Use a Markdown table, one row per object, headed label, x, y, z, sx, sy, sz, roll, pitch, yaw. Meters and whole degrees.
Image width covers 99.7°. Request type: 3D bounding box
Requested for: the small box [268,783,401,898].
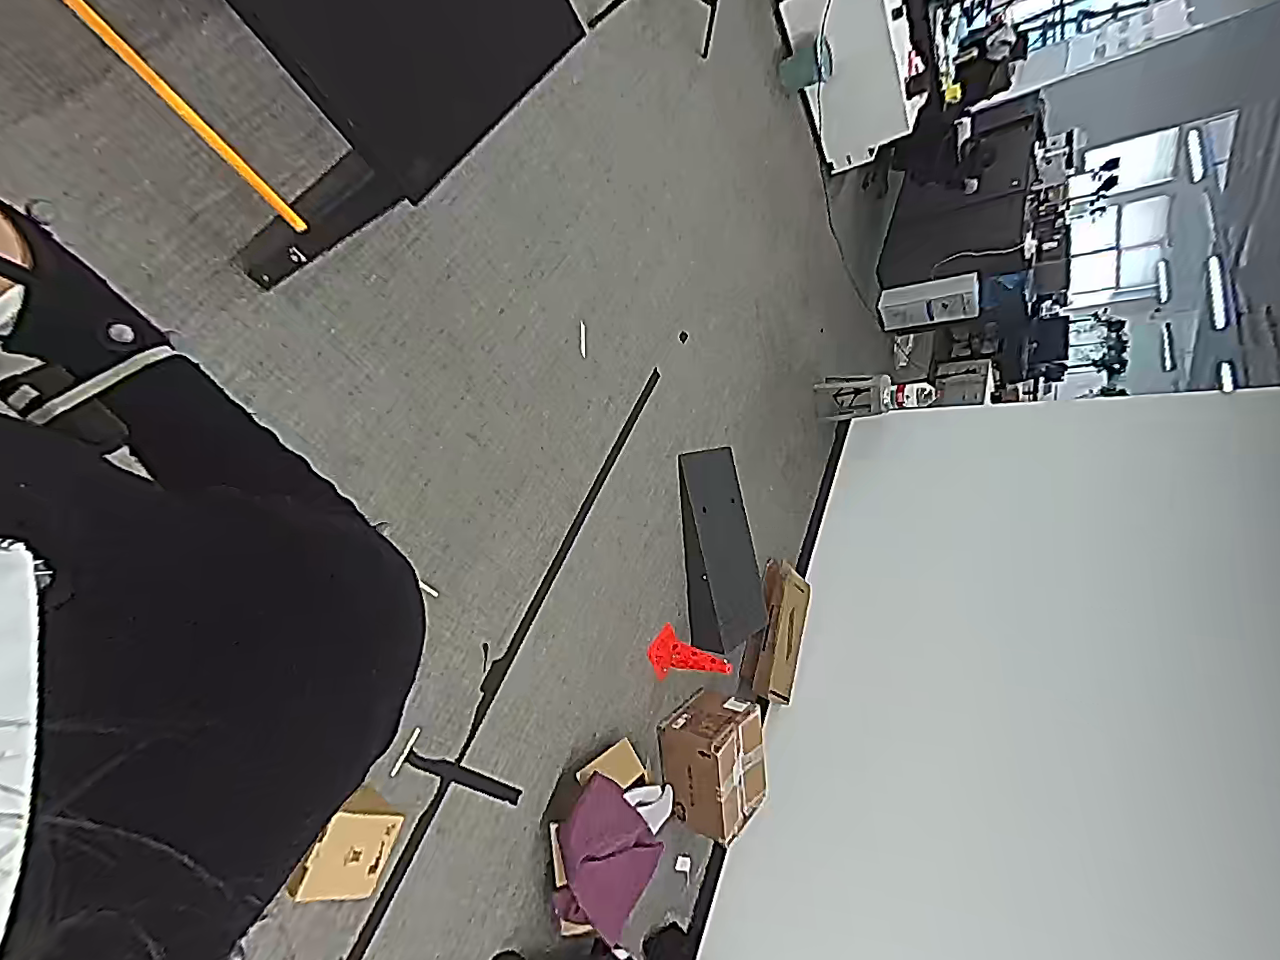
| label | x | y | z | sx | sy | sz | roll | pitch | yaw |
| --- | --- | --- | --- | --- | --- | --- | --- | --- | --- |
| small box | -0.687 | 0.801 | 1.211 | 0.179 | 0.176 | 0.168 | 41 | 61 | -42 |
